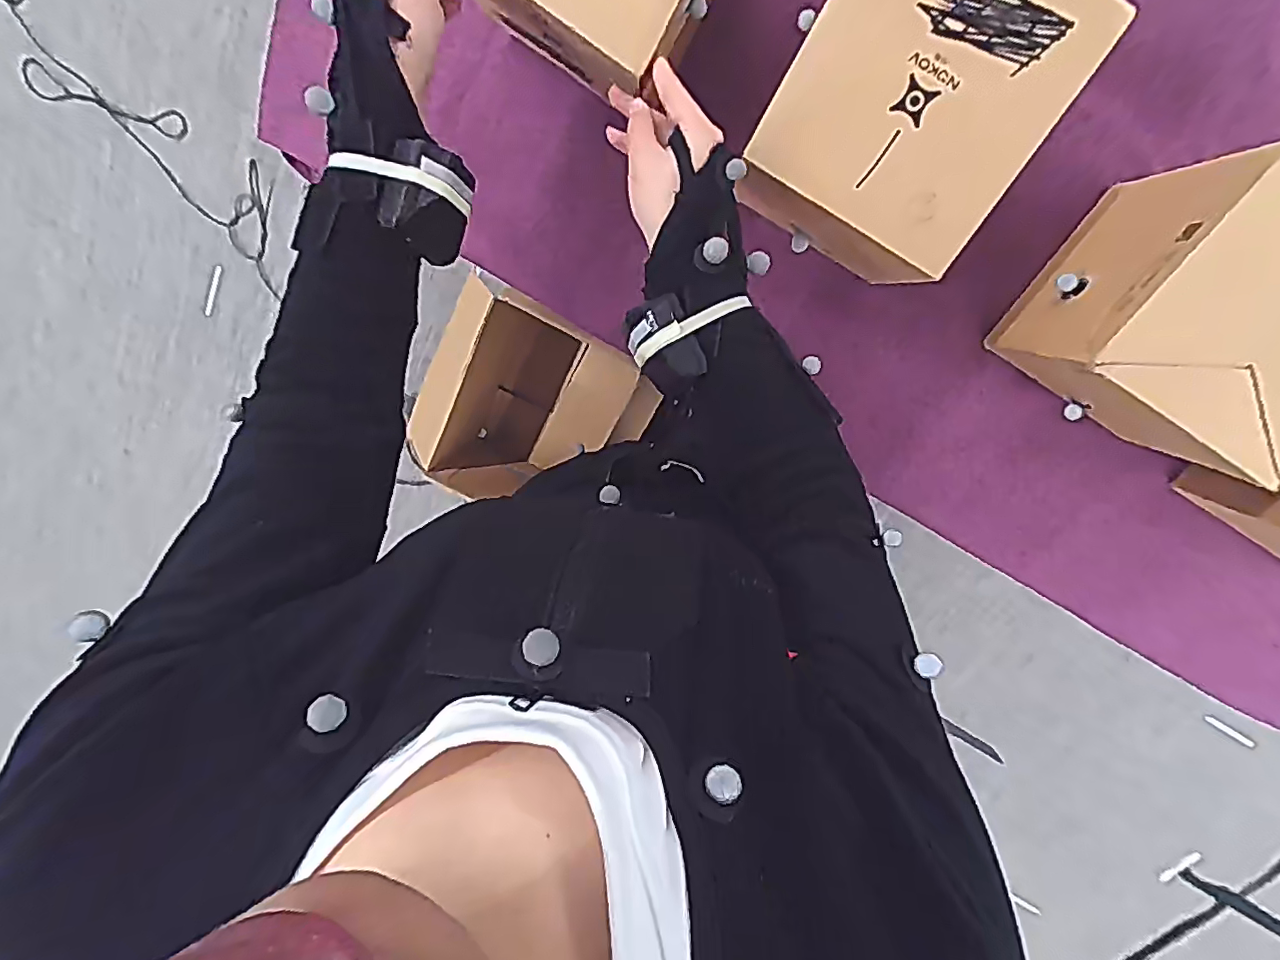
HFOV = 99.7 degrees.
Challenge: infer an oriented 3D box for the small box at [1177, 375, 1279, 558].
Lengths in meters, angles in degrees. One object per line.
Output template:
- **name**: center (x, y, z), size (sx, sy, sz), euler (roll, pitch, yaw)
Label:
- **small box**: center (0.647, 0.007, 0.459), size (0.179, 0.176, 0.168), euler (32, 107, -4)

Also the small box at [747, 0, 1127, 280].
- **small box**: center (0.197, -0.279, 0.427), size (0.168, 0.176, 0.179), euler (31, 110, -3)
